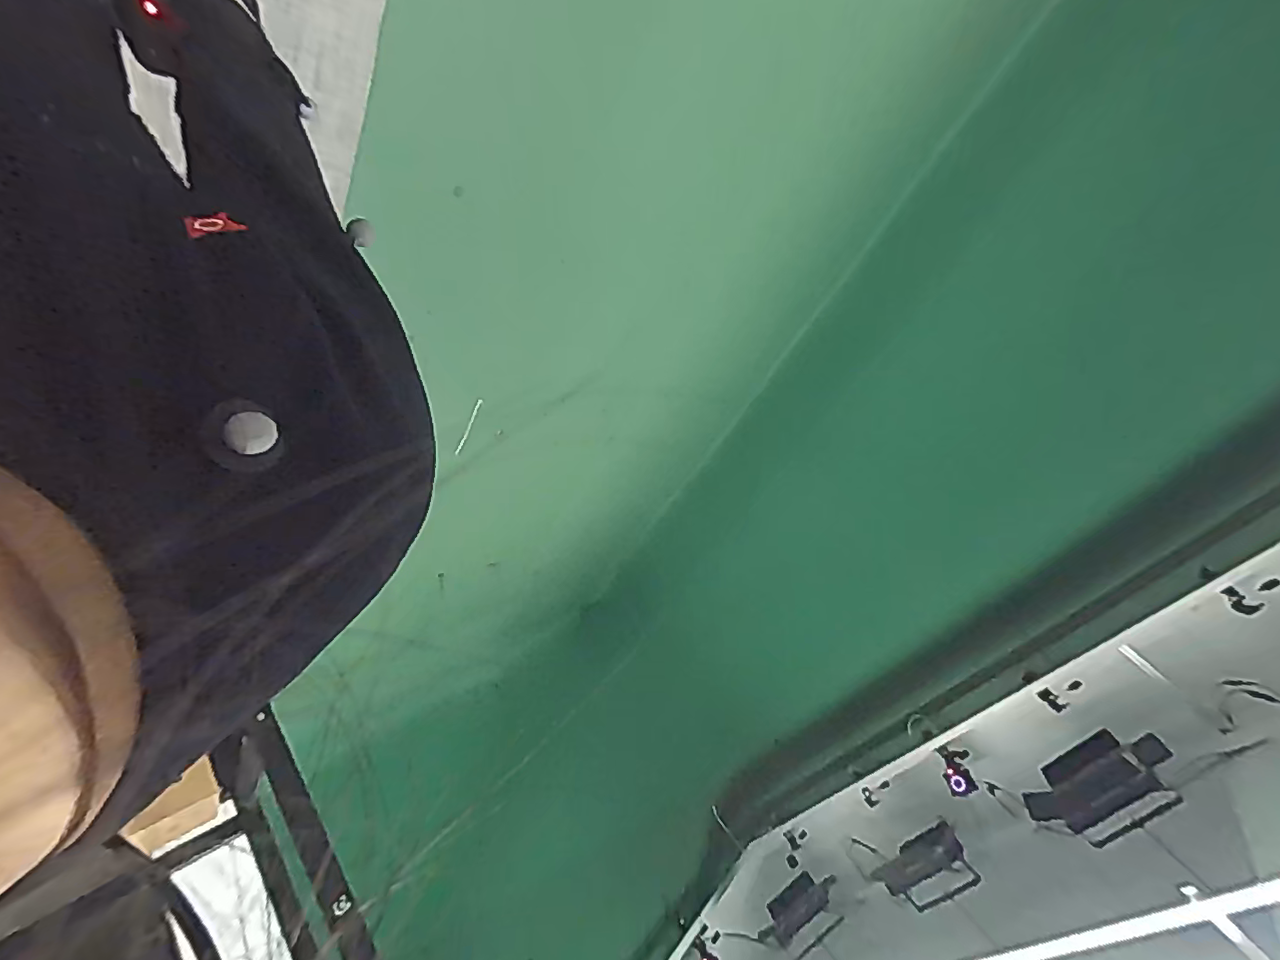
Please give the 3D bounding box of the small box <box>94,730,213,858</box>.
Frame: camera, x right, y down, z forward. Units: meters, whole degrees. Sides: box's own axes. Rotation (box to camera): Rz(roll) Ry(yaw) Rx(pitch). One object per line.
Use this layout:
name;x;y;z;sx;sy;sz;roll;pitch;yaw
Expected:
small box;-1.102;0.702;1.228;0.168;0.176;0.179;-16;149;-48
